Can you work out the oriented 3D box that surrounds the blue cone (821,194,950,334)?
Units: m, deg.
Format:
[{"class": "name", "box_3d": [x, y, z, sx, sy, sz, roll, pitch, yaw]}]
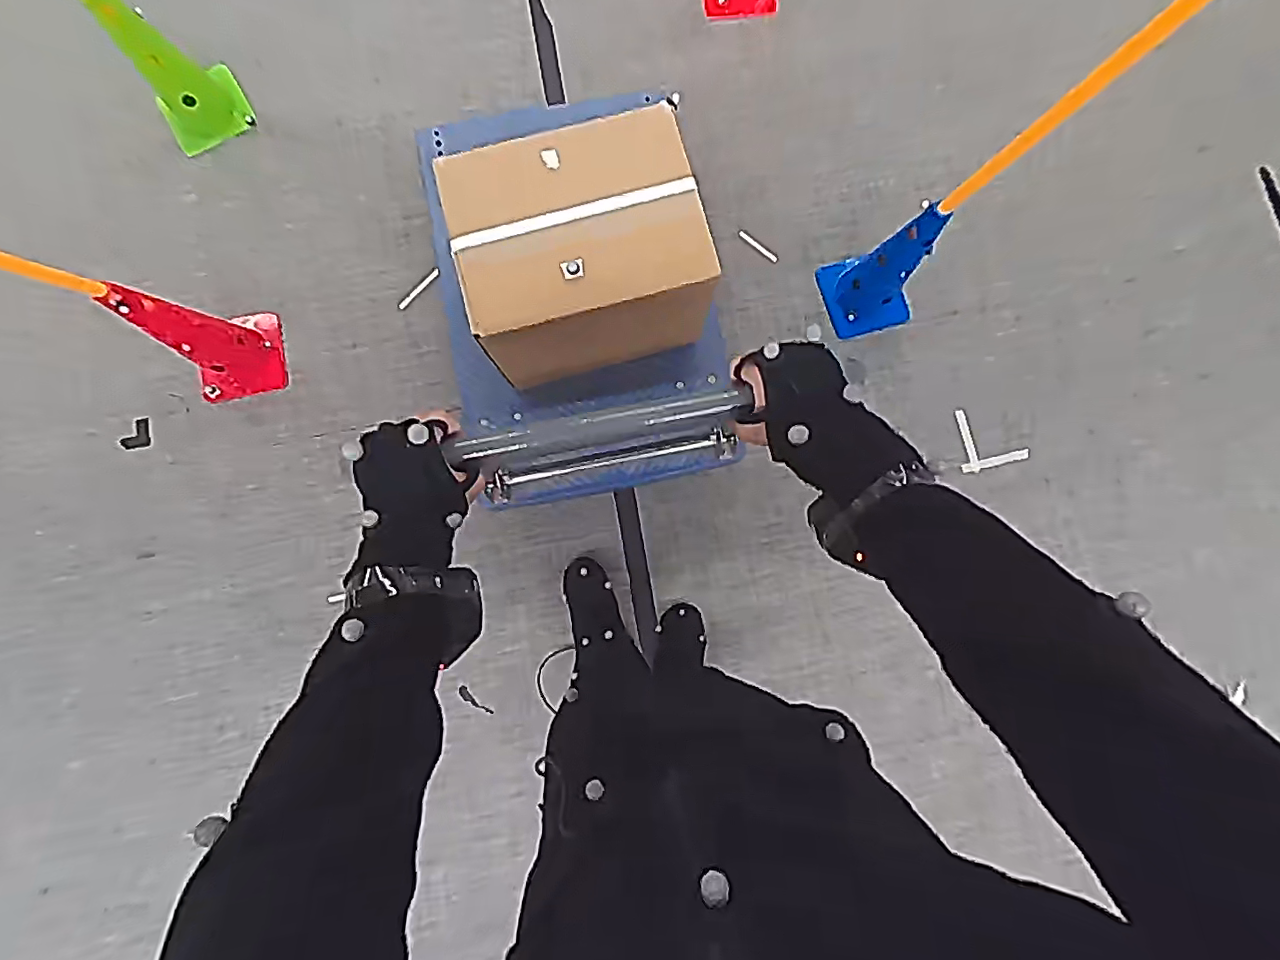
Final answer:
[{"class": "blue cone", "box_3d": [0.572, -0.492, 1.206, 0.193, 0.380, 0.192, -15, 83, -3]}]

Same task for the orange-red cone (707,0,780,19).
[{"class": "orange-red cone", "box_3d": [0.280, -1.351, 1.284, 0.199, 0.360, 0.198, -4, 84, -3]}]
